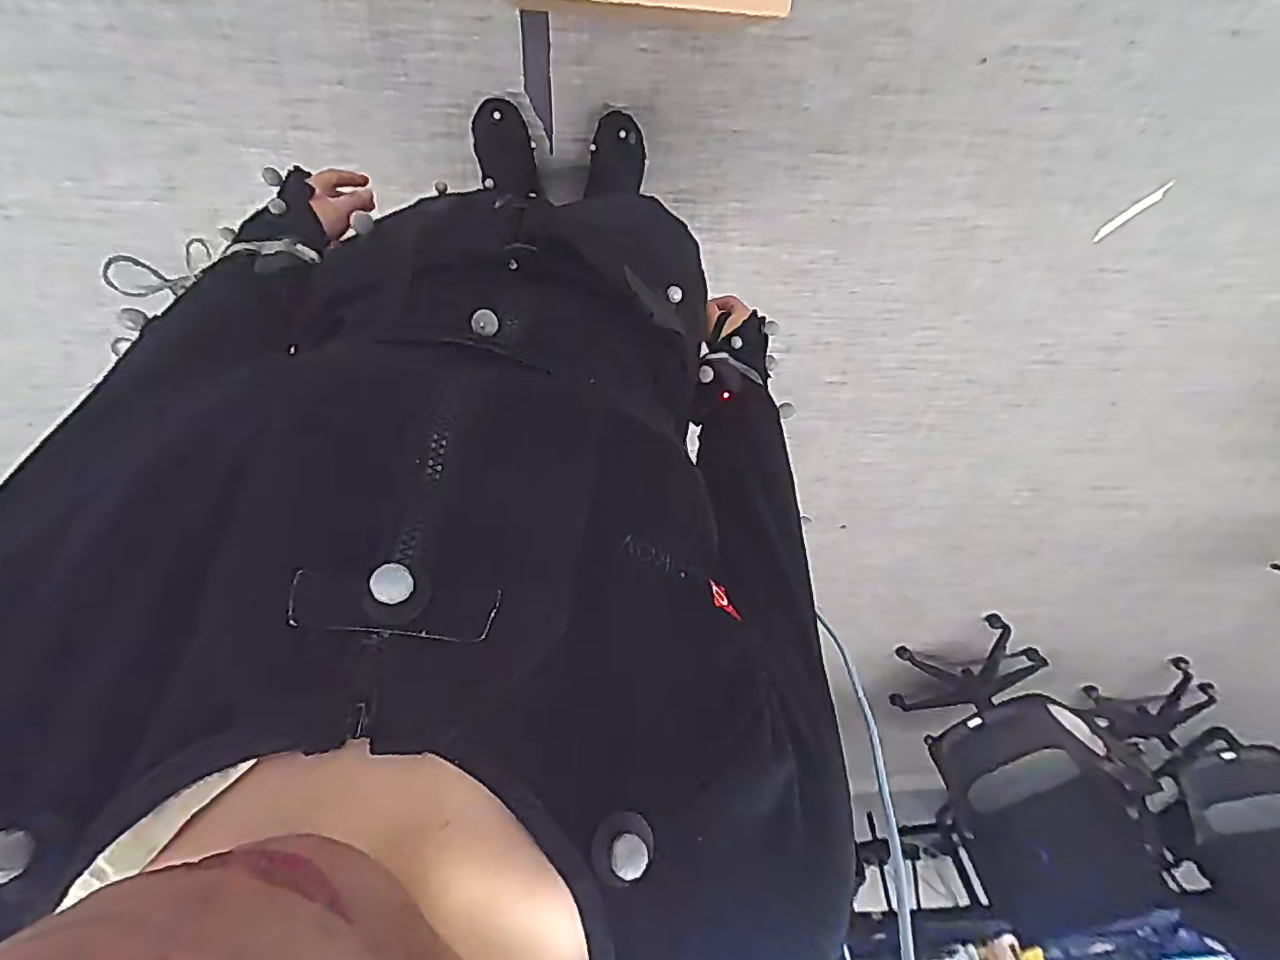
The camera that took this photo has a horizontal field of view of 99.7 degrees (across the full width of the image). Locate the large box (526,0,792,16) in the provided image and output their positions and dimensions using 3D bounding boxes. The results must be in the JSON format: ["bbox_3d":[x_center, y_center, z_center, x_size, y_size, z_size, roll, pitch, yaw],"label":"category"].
[{"bbox_3d":[0.013,-0.845,0.723,0.408,0.320,0.320,0,128,-6],"label":"large box"}]
